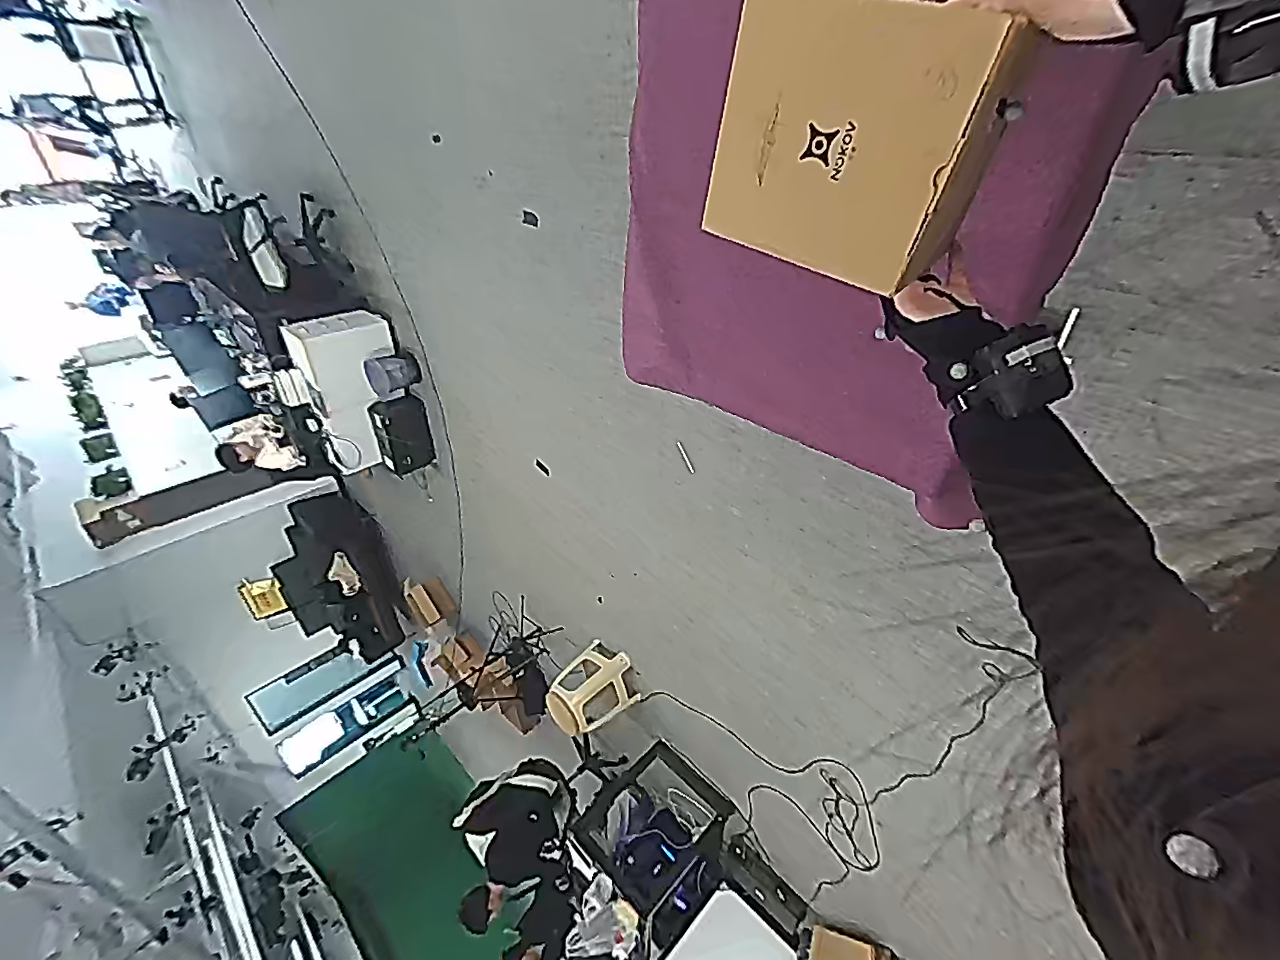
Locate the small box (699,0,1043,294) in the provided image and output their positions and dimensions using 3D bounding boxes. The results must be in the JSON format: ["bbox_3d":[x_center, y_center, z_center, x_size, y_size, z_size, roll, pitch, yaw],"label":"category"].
[{"bbox_3d":[0.177,-0.276,0.428,0.179,0.176,0.168,32,136,22],"label":"small box"}]
